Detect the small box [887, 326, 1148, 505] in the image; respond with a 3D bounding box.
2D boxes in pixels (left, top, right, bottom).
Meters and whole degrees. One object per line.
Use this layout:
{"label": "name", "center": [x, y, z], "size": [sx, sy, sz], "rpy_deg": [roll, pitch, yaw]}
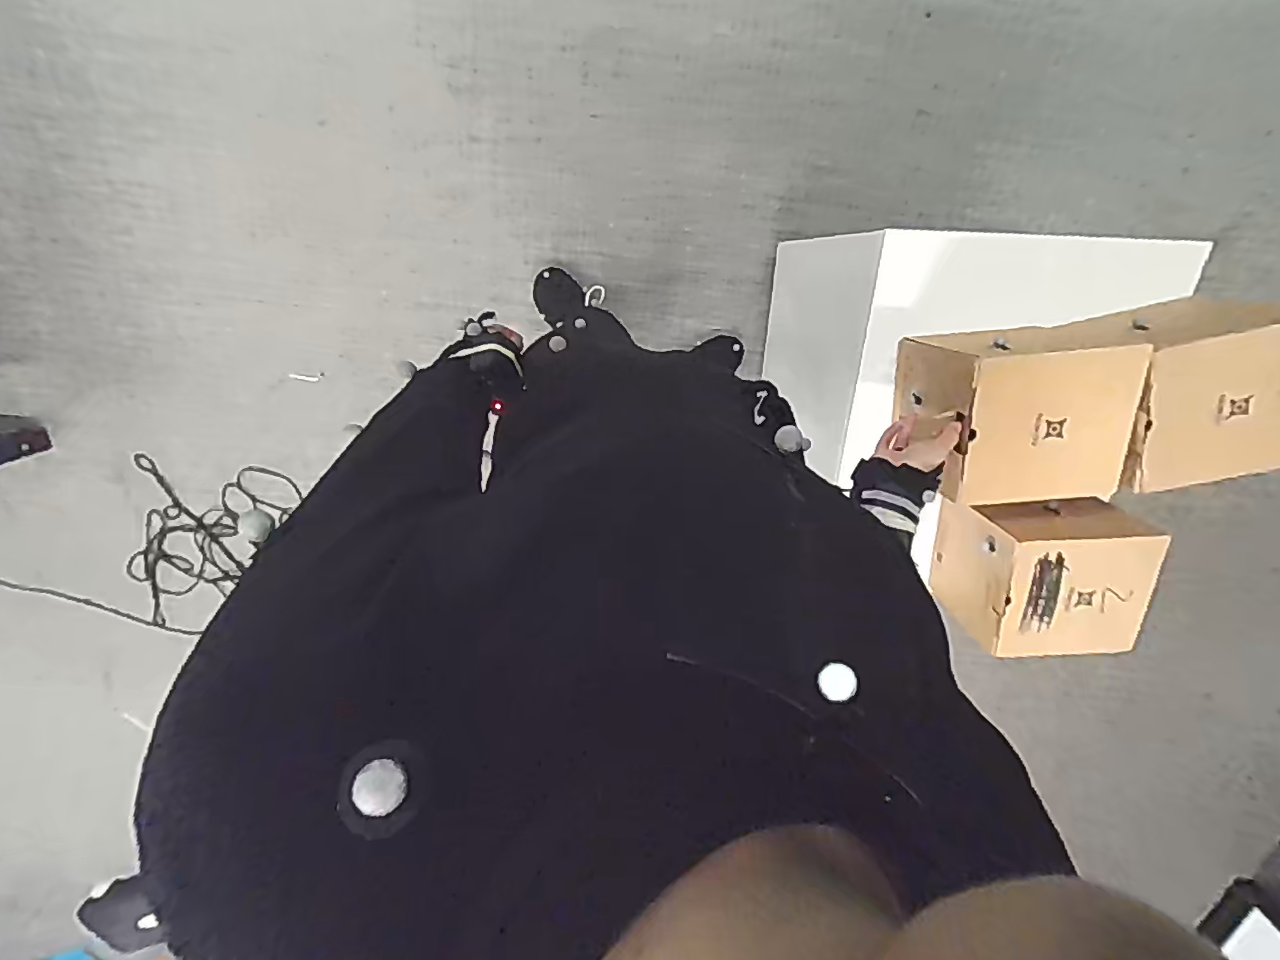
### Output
{"label": "small box", "center": [0.422, -0.085, 0.639], "size": [0.179, 0.176, 0.168], "rpy_deg": [-6, 111, 0]}
